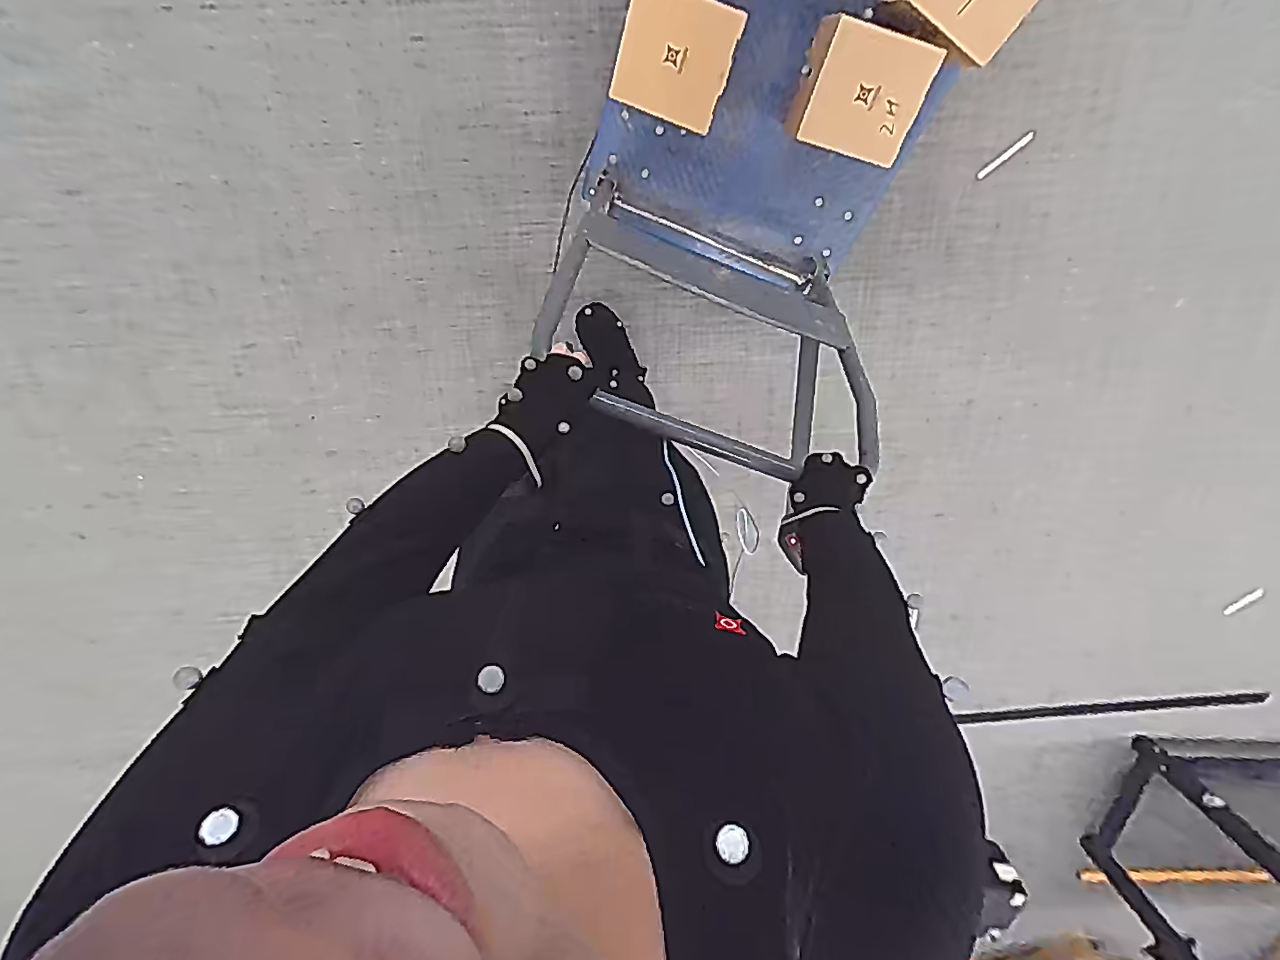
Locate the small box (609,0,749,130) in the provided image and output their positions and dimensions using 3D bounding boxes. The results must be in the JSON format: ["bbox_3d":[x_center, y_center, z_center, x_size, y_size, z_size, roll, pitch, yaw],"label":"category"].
[{"bbox_3d":[0.061,-0.716,0.903,0.179,0.176,0.168,16,130,-9],"label":"small box"}]

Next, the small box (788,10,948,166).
[{"bbox_3d":[0.368,-0.660,0.915,0.179,0.176,0.168,15,130,-6],"label":"small box"}]

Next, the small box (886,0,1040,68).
[{"bbox_3d":[0.505,-0.768,0.810,0.168,0.176,0.179,27,129,-16],"label":"small box"}]
